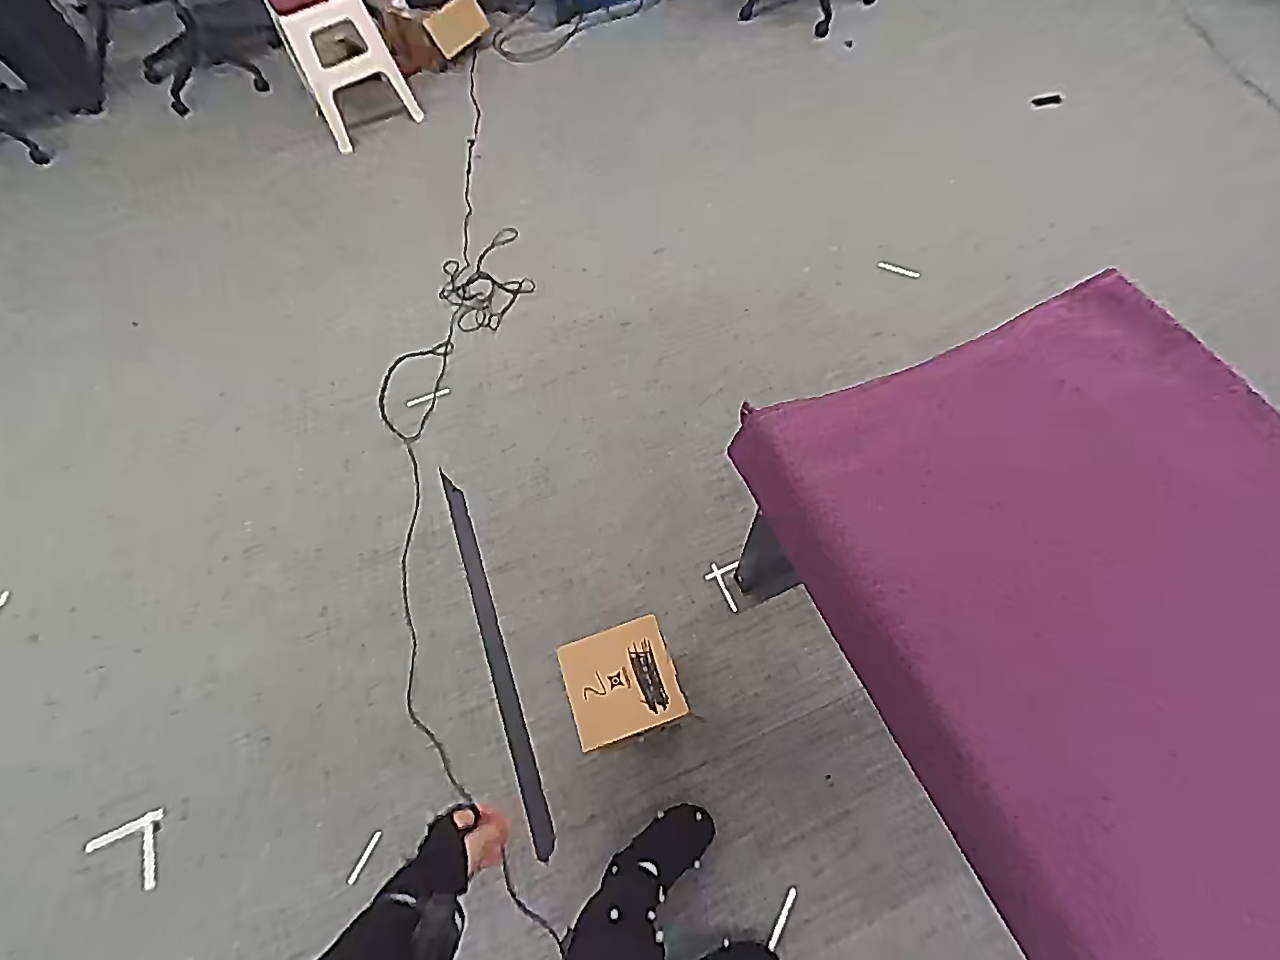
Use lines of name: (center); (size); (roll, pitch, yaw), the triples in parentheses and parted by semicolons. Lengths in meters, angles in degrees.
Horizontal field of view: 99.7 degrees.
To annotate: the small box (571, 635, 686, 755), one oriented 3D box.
small box: (-0.020, 0.428, 1.079); (0.179, 0.176, 0.168); (-21, 65, -6)
